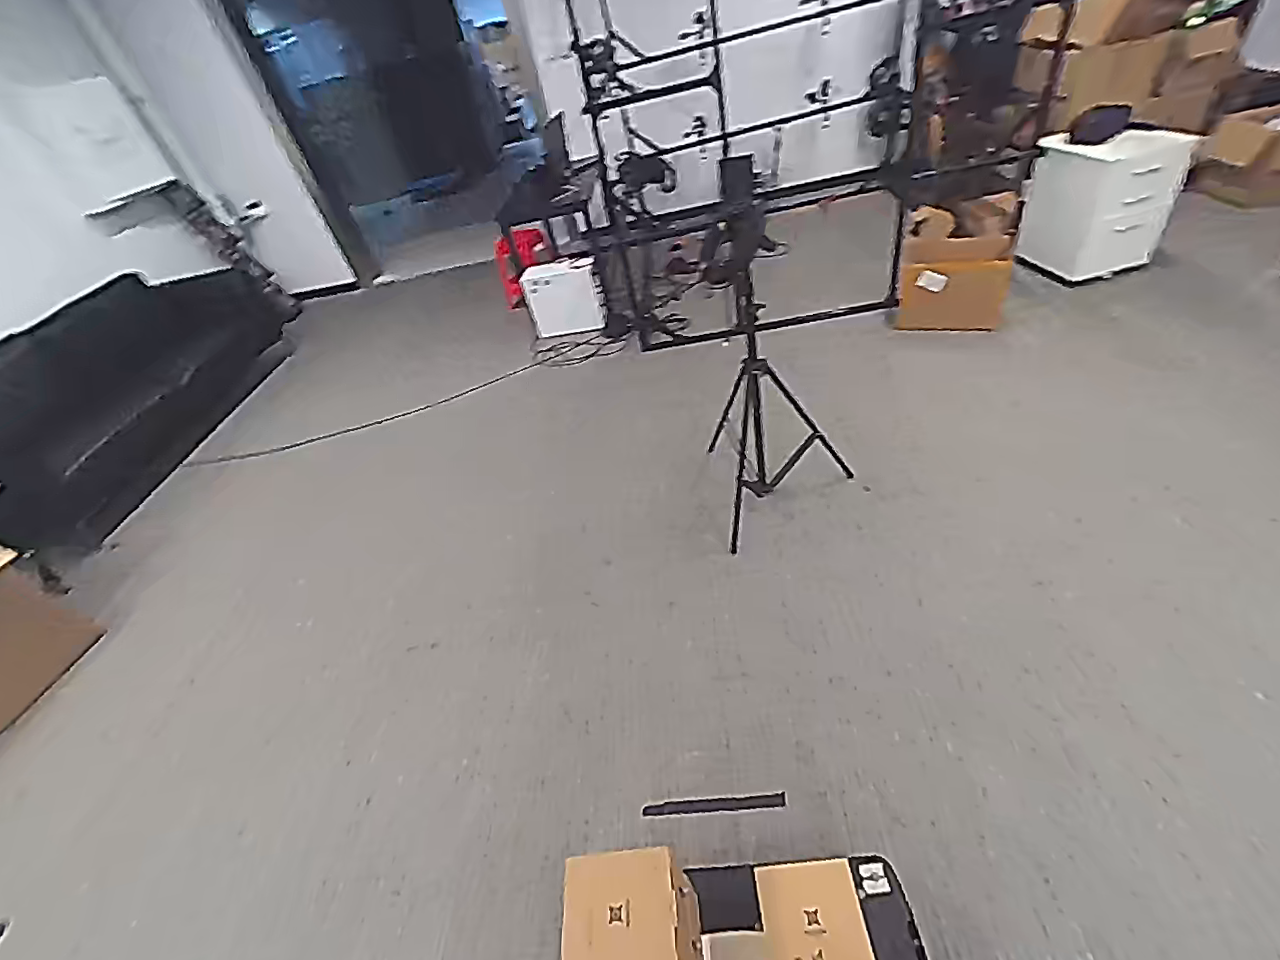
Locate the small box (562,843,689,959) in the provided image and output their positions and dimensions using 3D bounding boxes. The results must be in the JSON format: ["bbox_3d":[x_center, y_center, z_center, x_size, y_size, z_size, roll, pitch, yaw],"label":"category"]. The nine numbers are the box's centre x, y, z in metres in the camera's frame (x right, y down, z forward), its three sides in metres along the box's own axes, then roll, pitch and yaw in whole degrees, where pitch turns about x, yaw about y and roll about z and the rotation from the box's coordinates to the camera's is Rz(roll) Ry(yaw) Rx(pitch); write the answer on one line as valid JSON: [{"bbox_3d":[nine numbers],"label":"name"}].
[{"bbox_3d":[-0.018,0.716,0.879,0.179,0.176,0.168,-11,40,5],"label":"small box"}]

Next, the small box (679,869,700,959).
[{"bbox_3d":[0.014,0.836,0.985,0.179,0.176,0.168,-10,41,6],"label":"small box"}]

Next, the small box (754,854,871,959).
[{"bbox_3d":[0.299,0.789,0.950,0.168,0.176,0.179,-11,40,8],"label":"small box"}]
